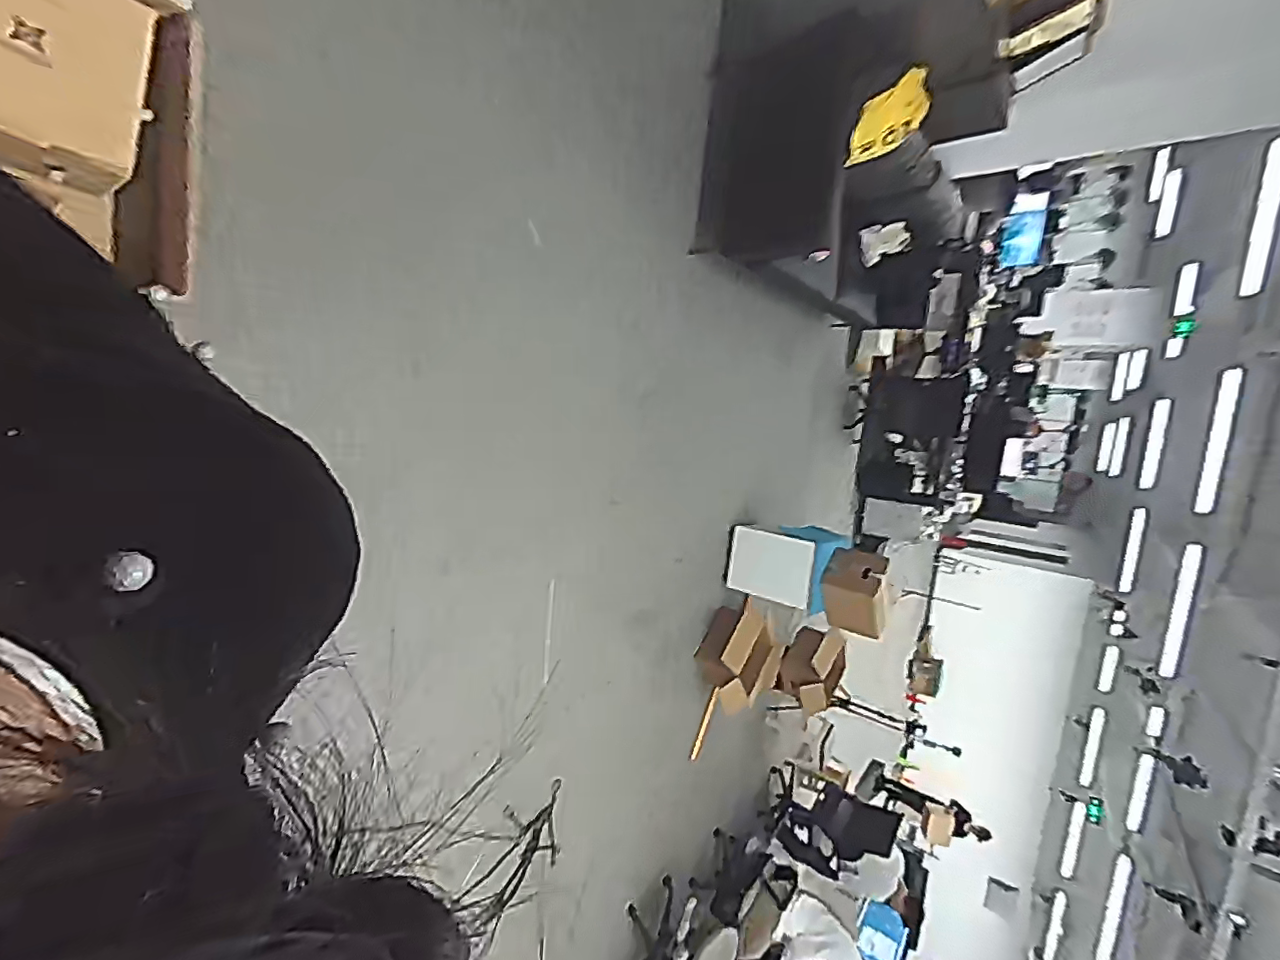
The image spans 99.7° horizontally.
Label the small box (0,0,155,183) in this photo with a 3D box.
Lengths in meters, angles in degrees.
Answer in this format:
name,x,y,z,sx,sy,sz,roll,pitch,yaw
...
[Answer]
name,x,y,z,sx,sy,sz,roll,pitch,yaw
small box,-0.626,-0.429,0.540,0.168,0.176,0.179,8,93,-55
